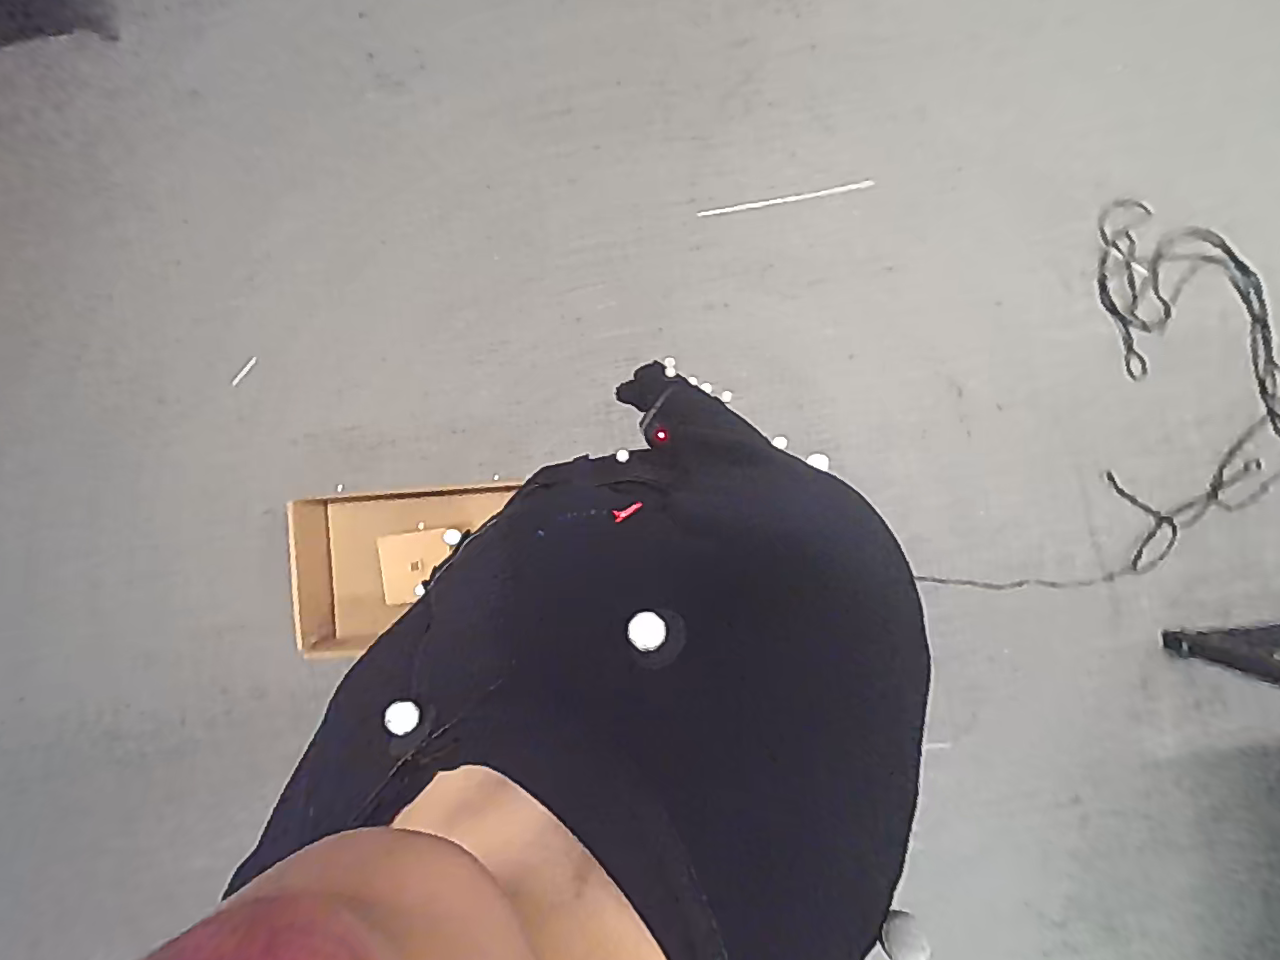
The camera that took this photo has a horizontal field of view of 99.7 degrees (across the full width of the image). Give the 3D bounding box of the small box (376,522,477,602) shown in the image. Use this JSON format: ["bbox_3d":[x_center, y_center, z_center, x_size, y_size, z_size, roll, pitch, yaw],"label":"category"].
[{"bbox_3d":[-0.530,0.201,1.358,0.179,0.176,0.168,-8,89,2],"label":"small box"}]
